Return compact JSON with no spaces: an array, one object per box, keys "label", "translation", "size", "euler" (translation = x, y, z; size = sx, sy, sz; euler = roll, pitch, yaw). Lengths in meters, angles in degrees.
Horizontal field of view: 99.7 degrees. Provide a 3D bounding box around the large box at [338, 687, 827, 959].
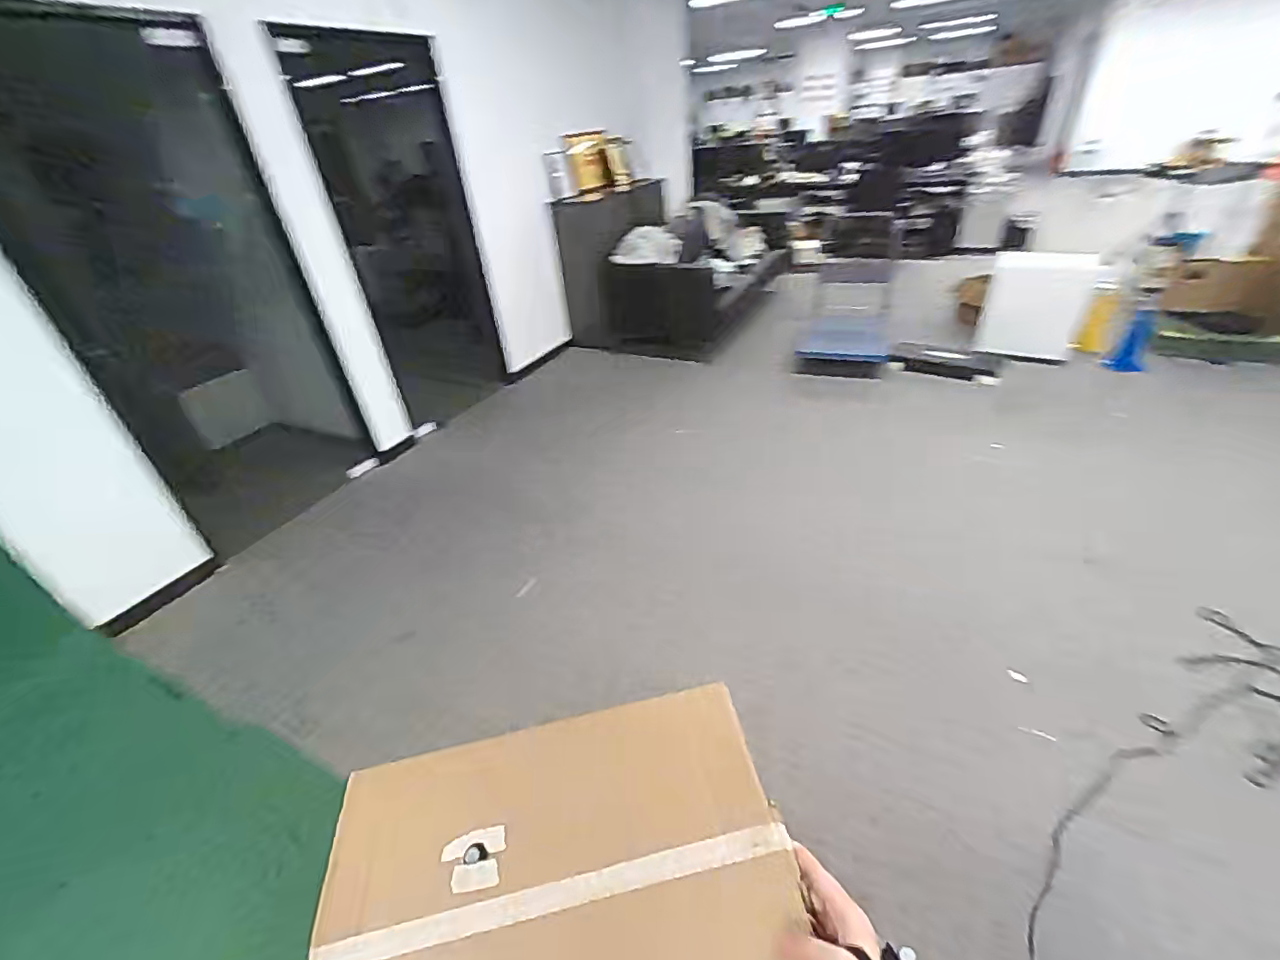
[{"label":"large box","translation":[-0.041,0.475,0.564],"size":[0.408,0.320,0.320],"euler":[-13,39,-2]}]
